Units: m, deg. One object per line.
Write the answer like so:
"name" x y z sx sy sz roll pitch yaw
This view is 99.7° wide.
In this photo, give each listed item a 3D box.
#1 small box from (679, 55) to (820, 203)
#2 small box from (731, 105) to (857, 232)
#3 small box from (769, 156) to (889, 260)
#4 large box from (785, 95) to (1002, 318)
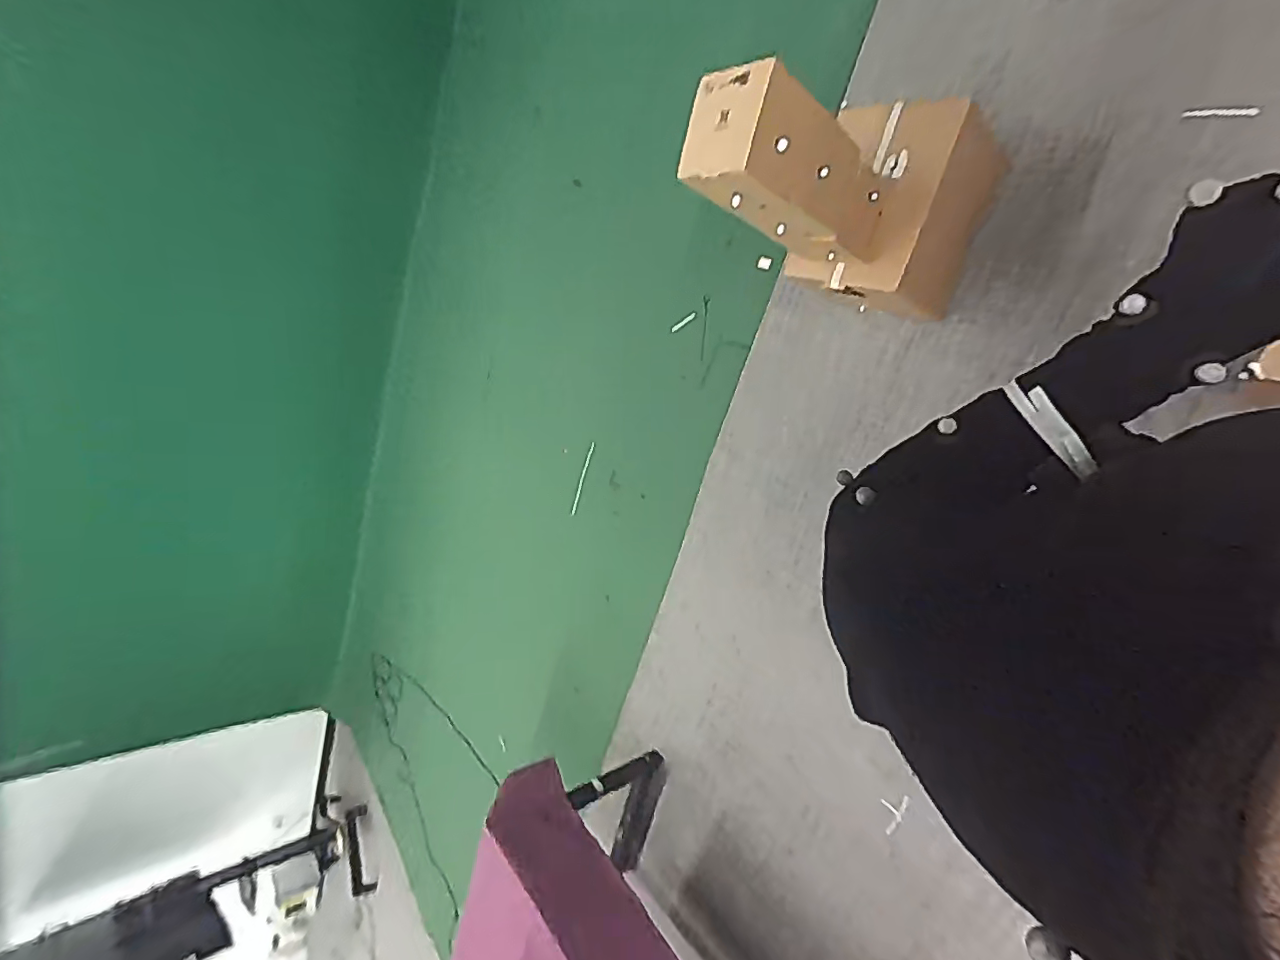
"small box" 0.203 -0.626 0.994 0.168 0.176 0.179 27 108 42
"small box" 0.319 -0.623 1.111 0.168 0.176 0.179 24 104 43
"small box" 0.432 -0.613 1.229 0.179 0.176 0.168 30 109 43
"large box" 0.636 -0.665 1.371 0.320 0.320 0.408 31 109 41
